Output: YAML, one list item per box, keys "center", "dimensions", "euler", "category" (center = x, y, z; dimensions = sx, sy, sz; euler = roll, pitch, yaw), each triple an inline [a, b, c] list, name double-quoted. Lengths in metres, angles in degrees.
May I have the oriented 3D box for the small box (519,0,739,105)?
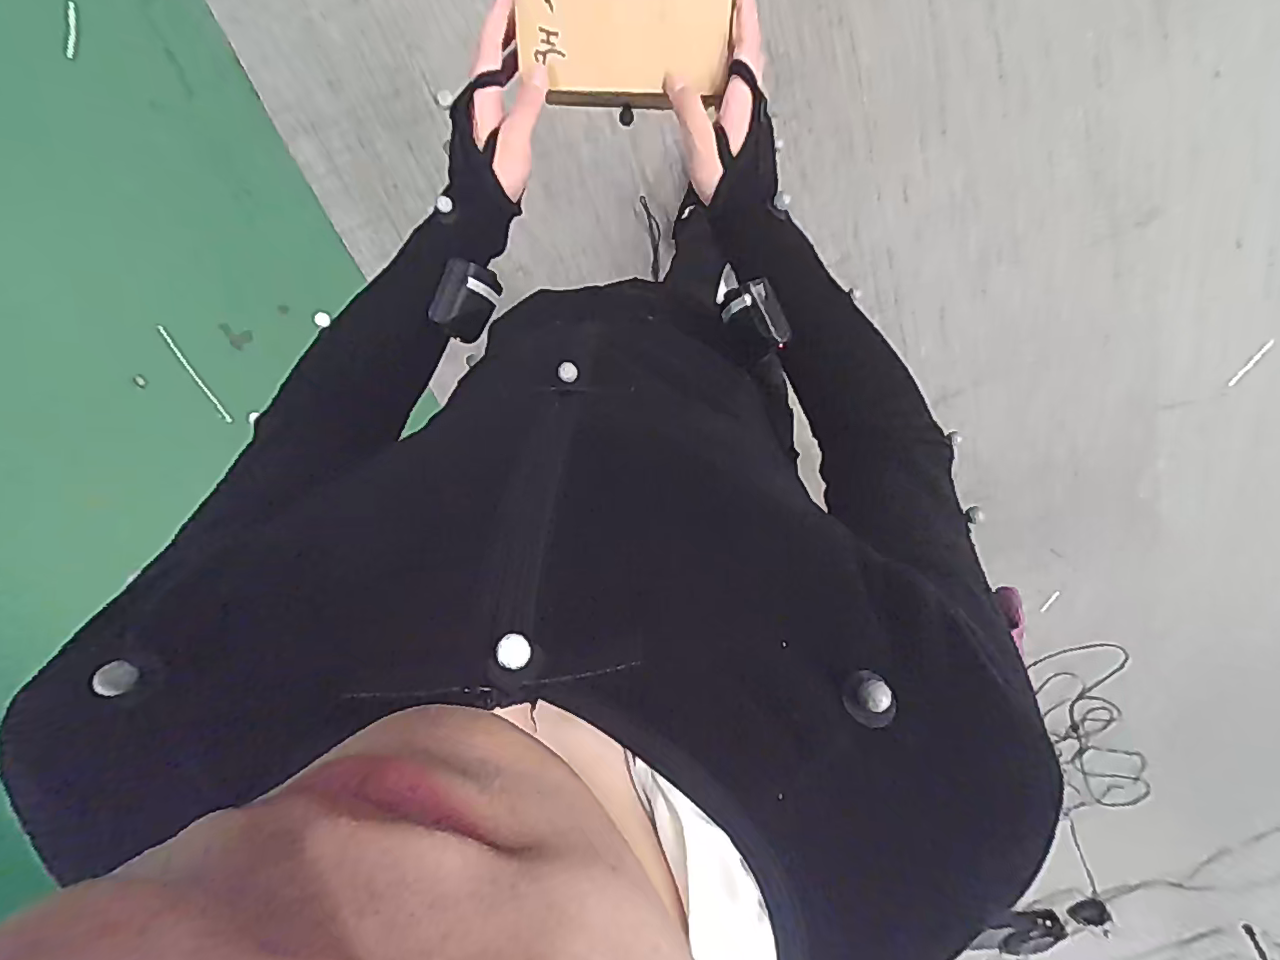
- center: [-0.009, -0.440, 0.479]
  dimensions: [0.179, 0.176, 0.168]
  euler: [1, 121, -1]
  category: "small box"
